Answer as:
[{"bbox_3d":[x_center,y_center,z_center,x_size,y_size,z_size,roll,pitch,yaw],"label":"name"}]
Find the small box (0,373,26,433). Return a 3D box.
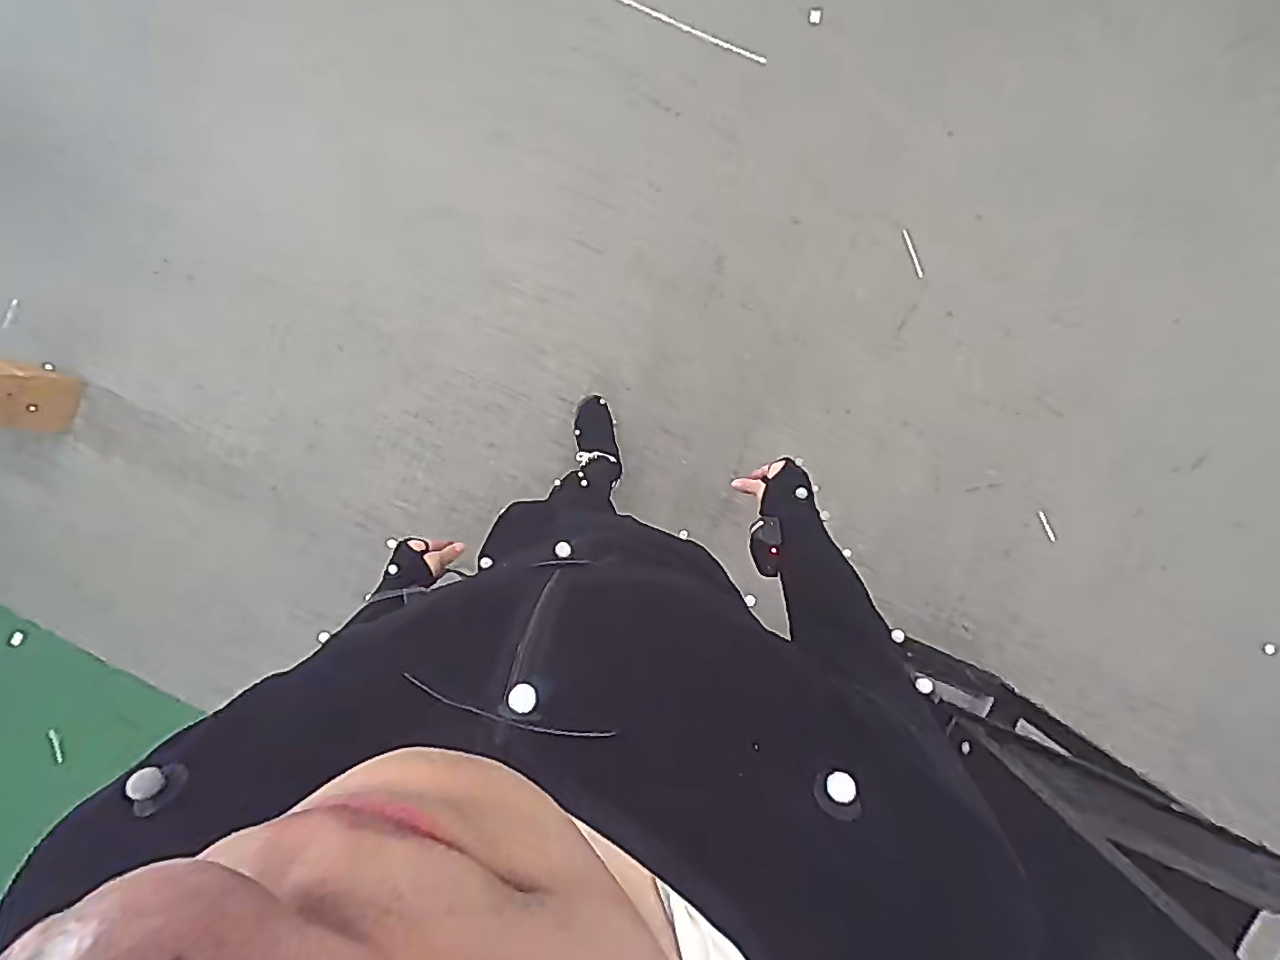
[{"bbox_3d":[-1.861,-0.229,1.473,0.179,0.176,0.168,22,93,1],"label":"small box"}]

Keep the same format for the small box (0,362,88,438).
[{"bbox_3d":[-1.849,-0.238,1.636,0.168,0.176,0.179,25,92,2],"label":"small box"}]
